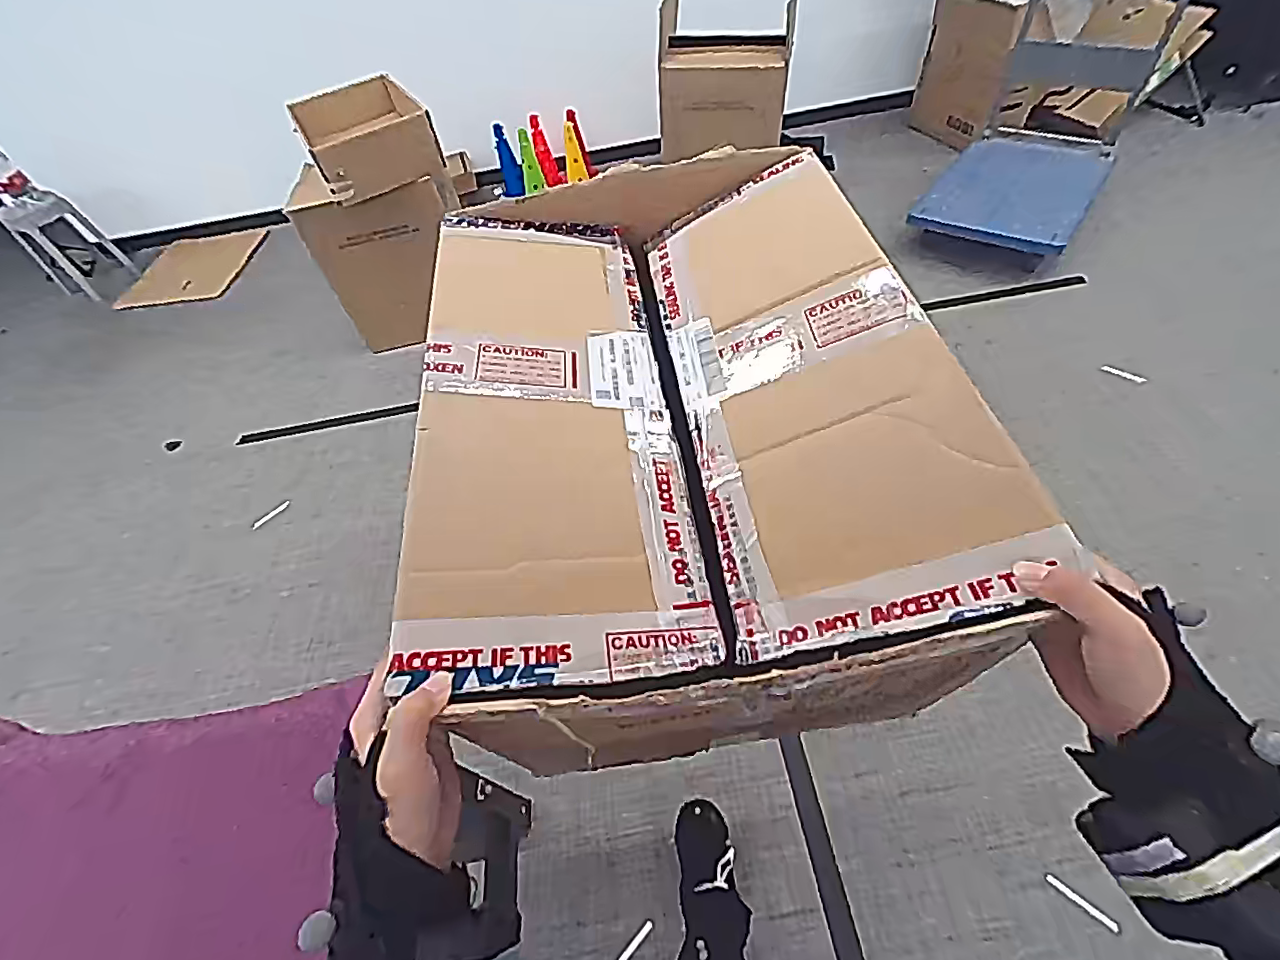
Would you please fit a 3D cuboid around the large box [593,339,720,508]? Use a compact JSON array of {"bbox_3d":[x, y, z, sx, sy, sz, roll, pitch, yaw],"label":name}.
[{"bbox_3d":[0.051,-0.178,1.696,0.320,0.320,0.408,-11,52,0],"label":"large box"}]
